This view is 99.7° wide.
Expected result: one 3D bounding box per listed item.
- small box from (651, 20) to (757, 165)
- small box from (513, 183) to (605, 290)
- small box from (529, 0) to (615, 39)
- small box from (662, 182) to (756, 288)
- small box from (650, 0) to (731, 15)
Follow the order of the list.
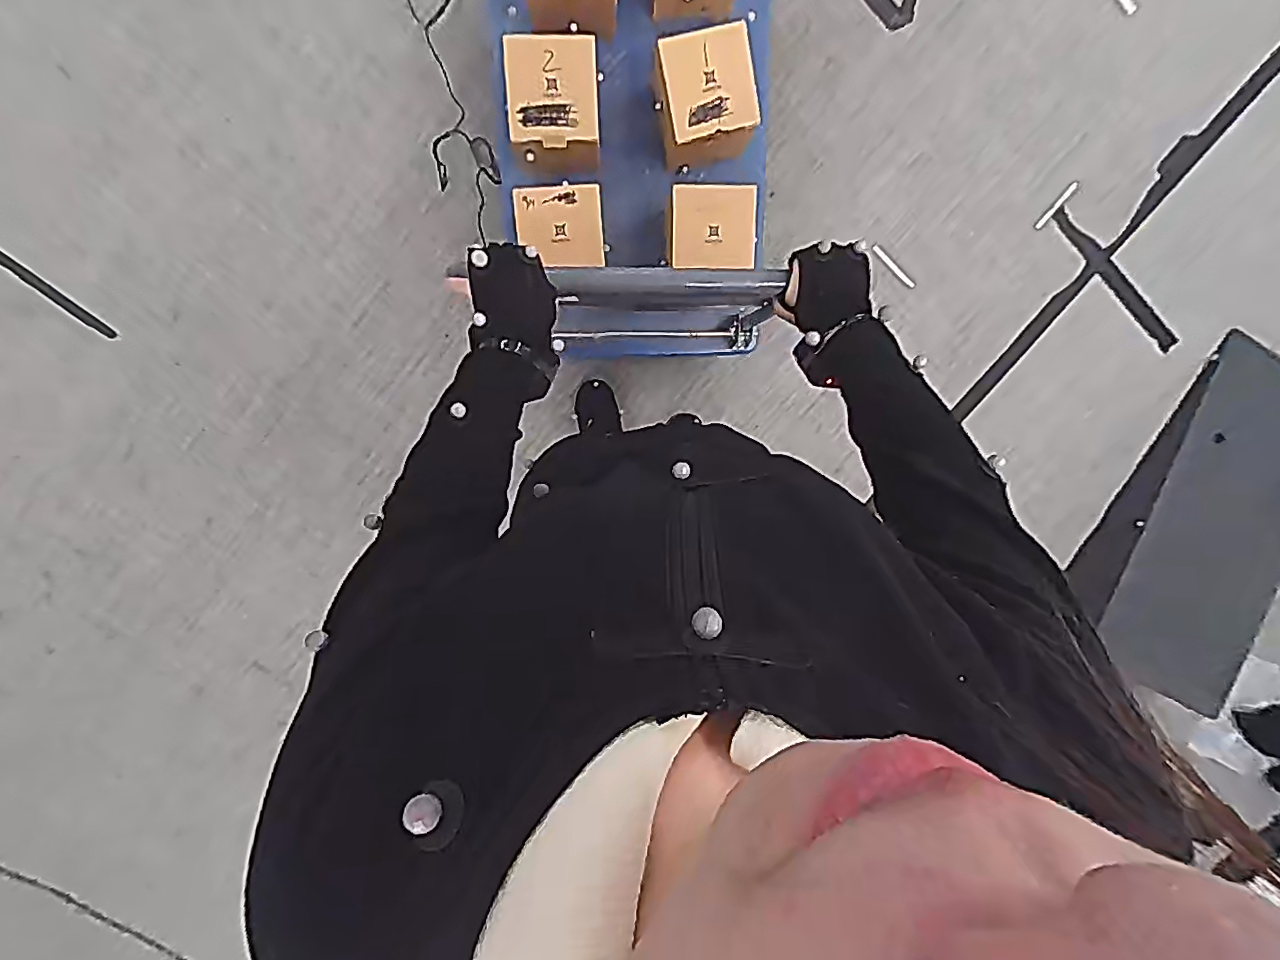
[{"bbox_3d":[0.122,-0.754,1.077,0.168,0.176,0.179,-13,102,-1],"label":"small box"},{"bbox_3d":[-0.160,-0.491,1.118,0.168,0.176,0.179,-5,103,-3],"label":"small box"},{"bbox_3d":[-0.129,-0.978,1.011,0.168,0.176,0.179,1,103,-3],"label":"small box"},{"bbox_3d":[0.138,-0.504,1.135,0.168,0.176,0.179,-1,102,-4],"label":"small box"},{"bbox_3d":[0.102,-1.020,1.018,0.168,0.176,0.179,-4,103,-2],"label":"small box"}]
